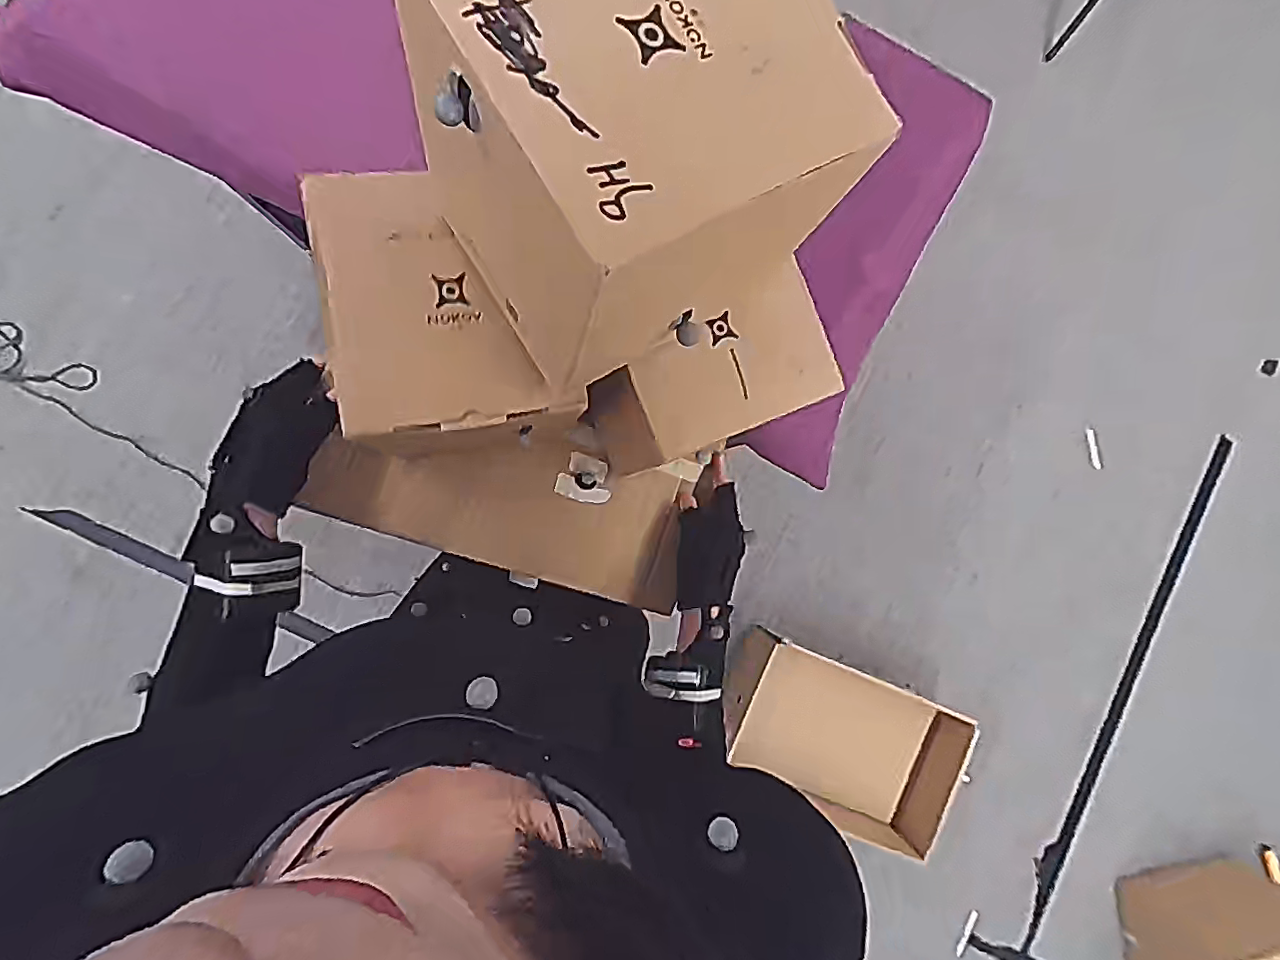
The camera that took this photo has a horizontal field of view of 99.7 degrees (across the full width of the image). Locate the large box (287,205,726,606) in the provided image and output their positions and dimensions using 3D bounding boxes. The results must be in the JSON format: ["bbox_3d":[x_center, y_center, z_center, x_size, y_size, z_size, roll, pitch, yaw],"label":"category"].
[{"bbox_3d":[-0.136,-0.067,0.695,0.408,0.320,0.320,19,88,-12],"label":"large box"}]

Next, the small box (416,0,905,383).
[{"bbox_3d":[-0.006,-0.181,0.304,0.179,0.176,0.168,-32,90,-16],"label":"small box"}]

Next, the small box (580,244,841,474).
[{"bbox_3d":[0.037,-0.115,0.478,0.168,0.176,0.179,-20,91,-14],"label":"small box"}]
